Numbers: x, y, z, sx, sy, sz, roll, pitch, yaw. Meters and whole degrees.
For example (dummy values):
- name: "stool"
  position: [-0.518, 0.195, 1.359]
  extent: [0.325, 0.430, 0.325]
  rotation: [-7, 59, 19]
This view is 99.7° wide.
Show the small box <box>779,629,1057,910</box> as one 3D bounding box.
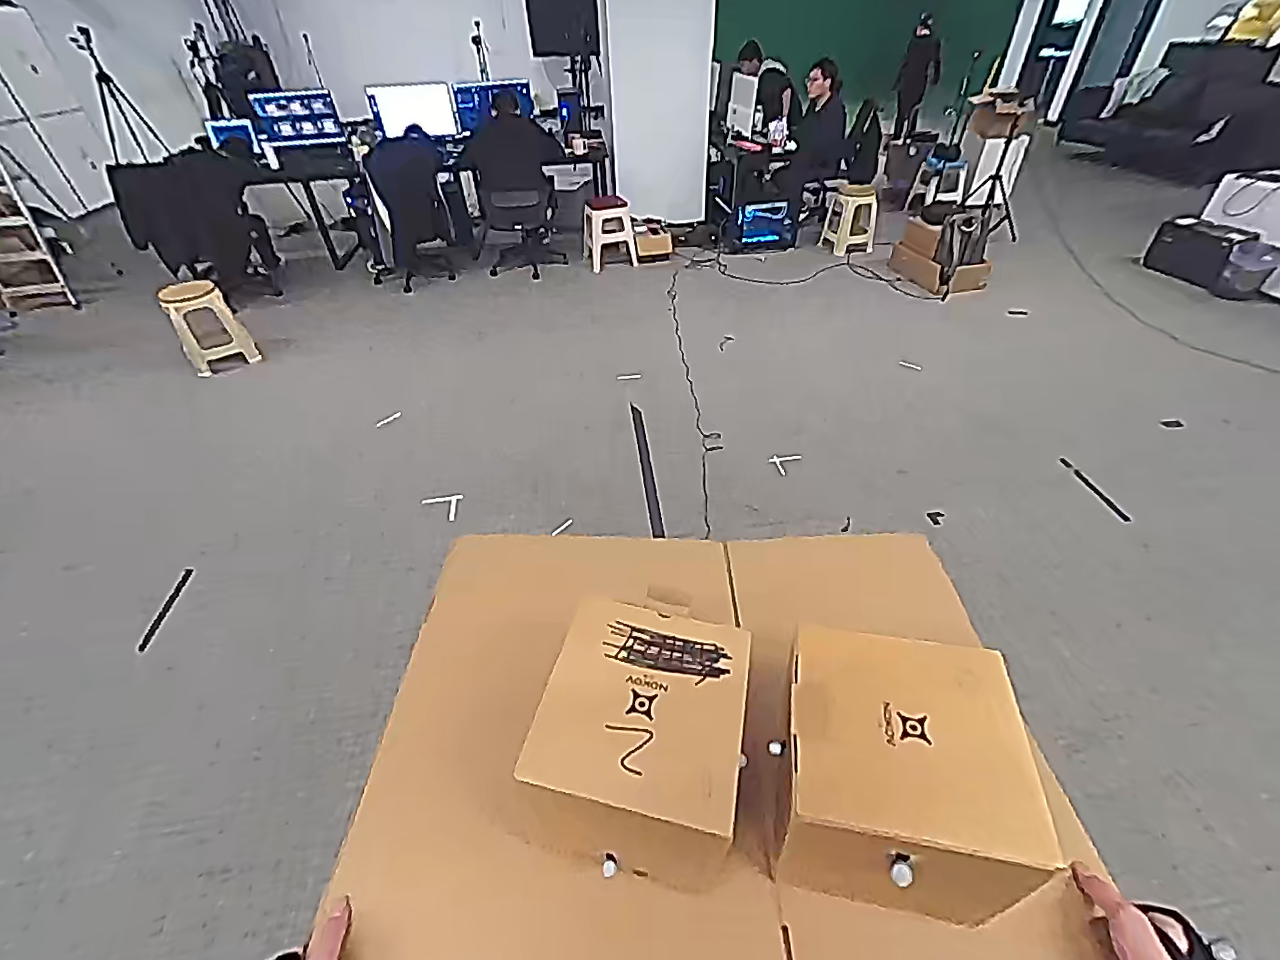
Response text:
- name: "small box"
  position: [0.226, 0.263, 0.495]
  extent: [0.179, 0.176, 0.168]
  rotation: [4, 41, 13]
